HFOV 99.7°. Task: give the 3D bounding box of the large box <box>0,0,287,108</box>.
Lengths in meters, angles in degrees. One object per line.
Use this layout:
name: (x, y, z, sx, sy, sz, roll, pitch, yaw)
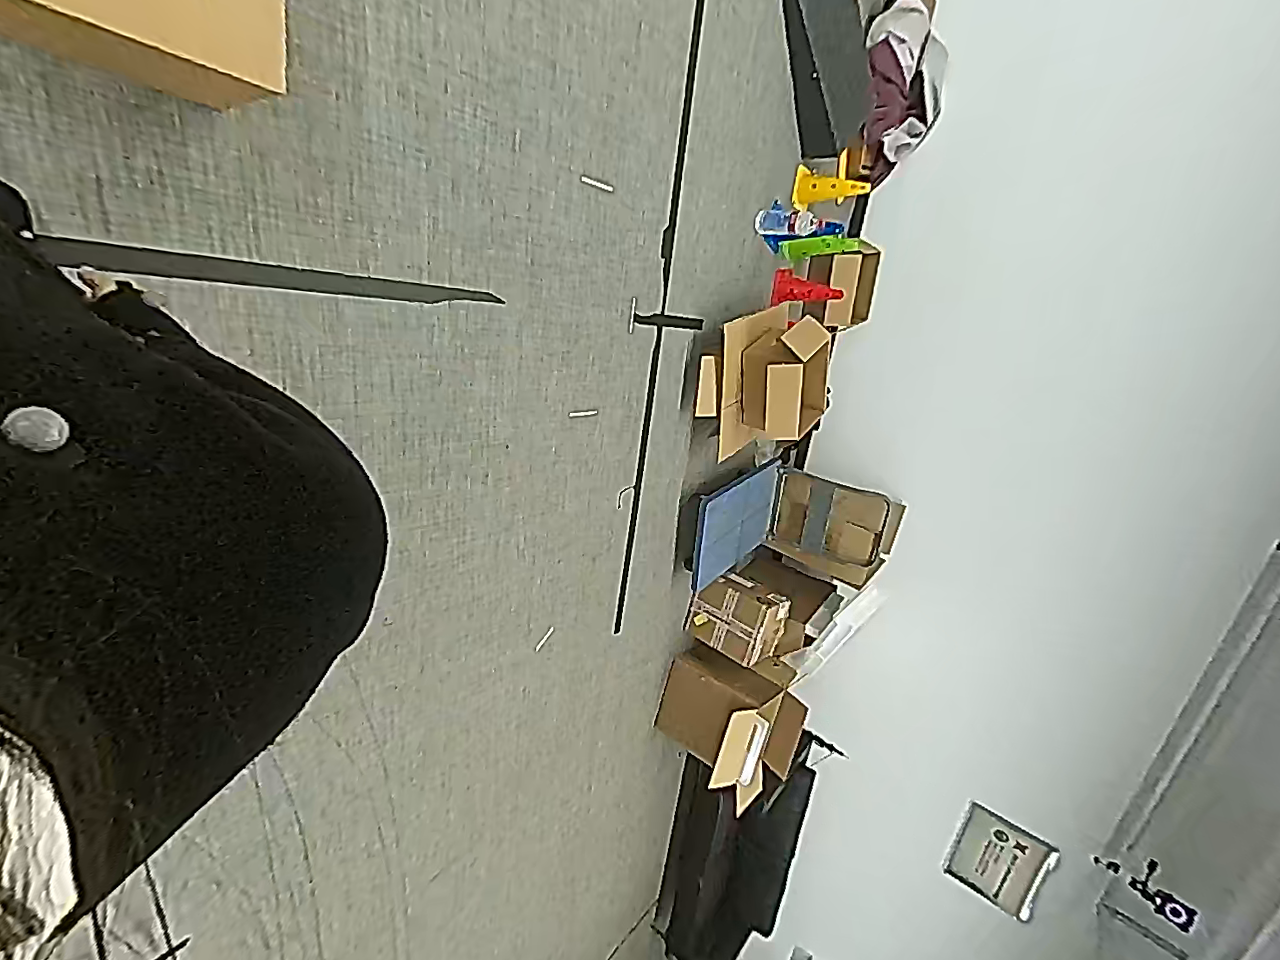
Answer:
large box: (-0.807, -0.806, 0.790, 0.408, 0.320, 0.320, -12, 118, -51)
